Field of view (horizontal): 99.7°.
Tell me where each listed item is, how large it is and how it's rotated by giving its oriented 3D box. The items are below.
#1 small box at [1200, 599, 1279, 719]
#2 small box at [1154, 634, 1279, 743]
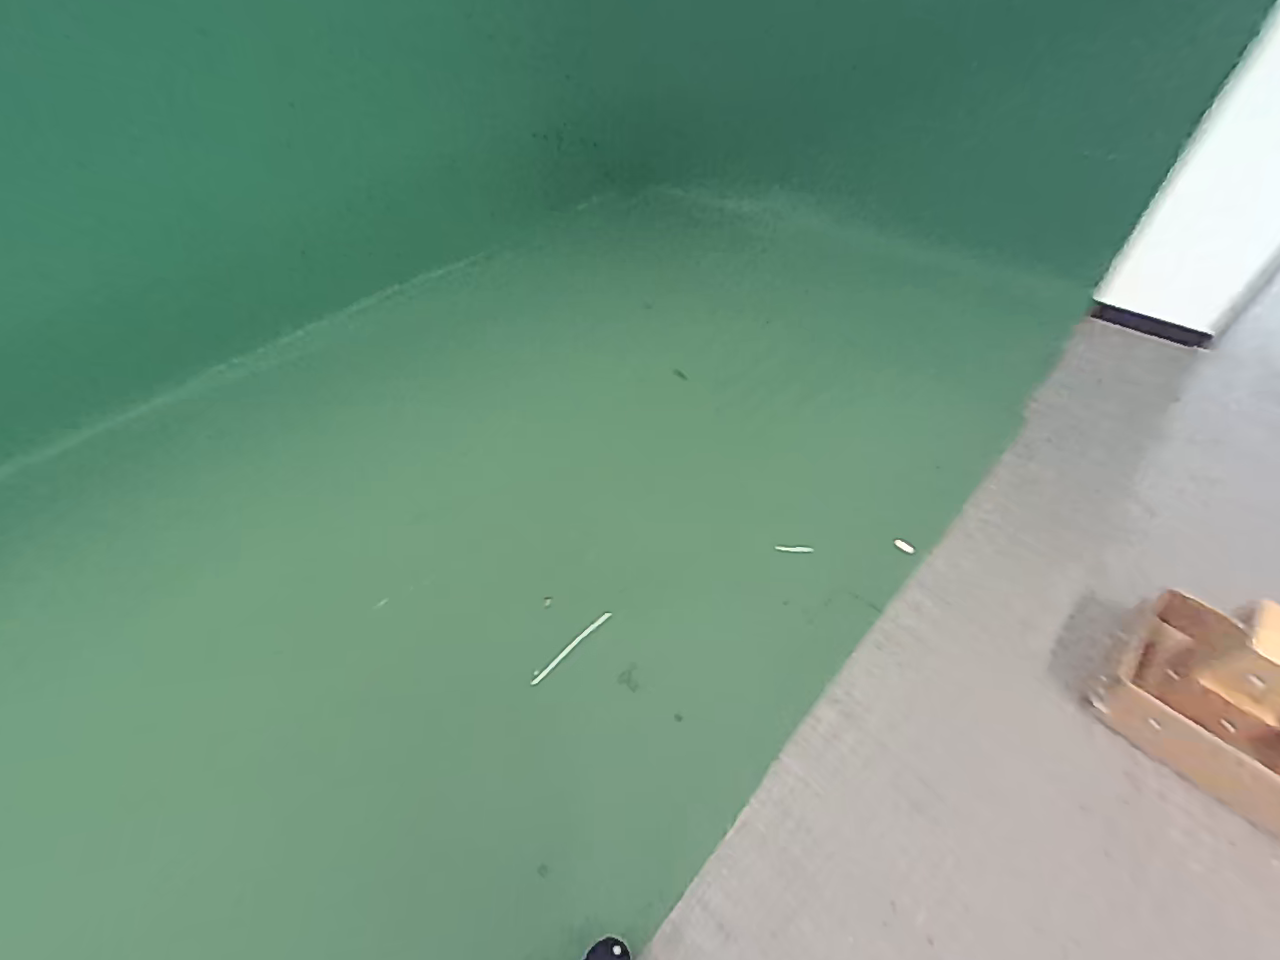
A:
[{"bbox_3d":[1.476,0.421,1.262,0.168,0.176,0.179,34,59,27],"label":"small box"},{"bbox_3d":[1.474,0.534,1.379,0.168,0.176,0.179,36,60,27],"label":"small box"}]
